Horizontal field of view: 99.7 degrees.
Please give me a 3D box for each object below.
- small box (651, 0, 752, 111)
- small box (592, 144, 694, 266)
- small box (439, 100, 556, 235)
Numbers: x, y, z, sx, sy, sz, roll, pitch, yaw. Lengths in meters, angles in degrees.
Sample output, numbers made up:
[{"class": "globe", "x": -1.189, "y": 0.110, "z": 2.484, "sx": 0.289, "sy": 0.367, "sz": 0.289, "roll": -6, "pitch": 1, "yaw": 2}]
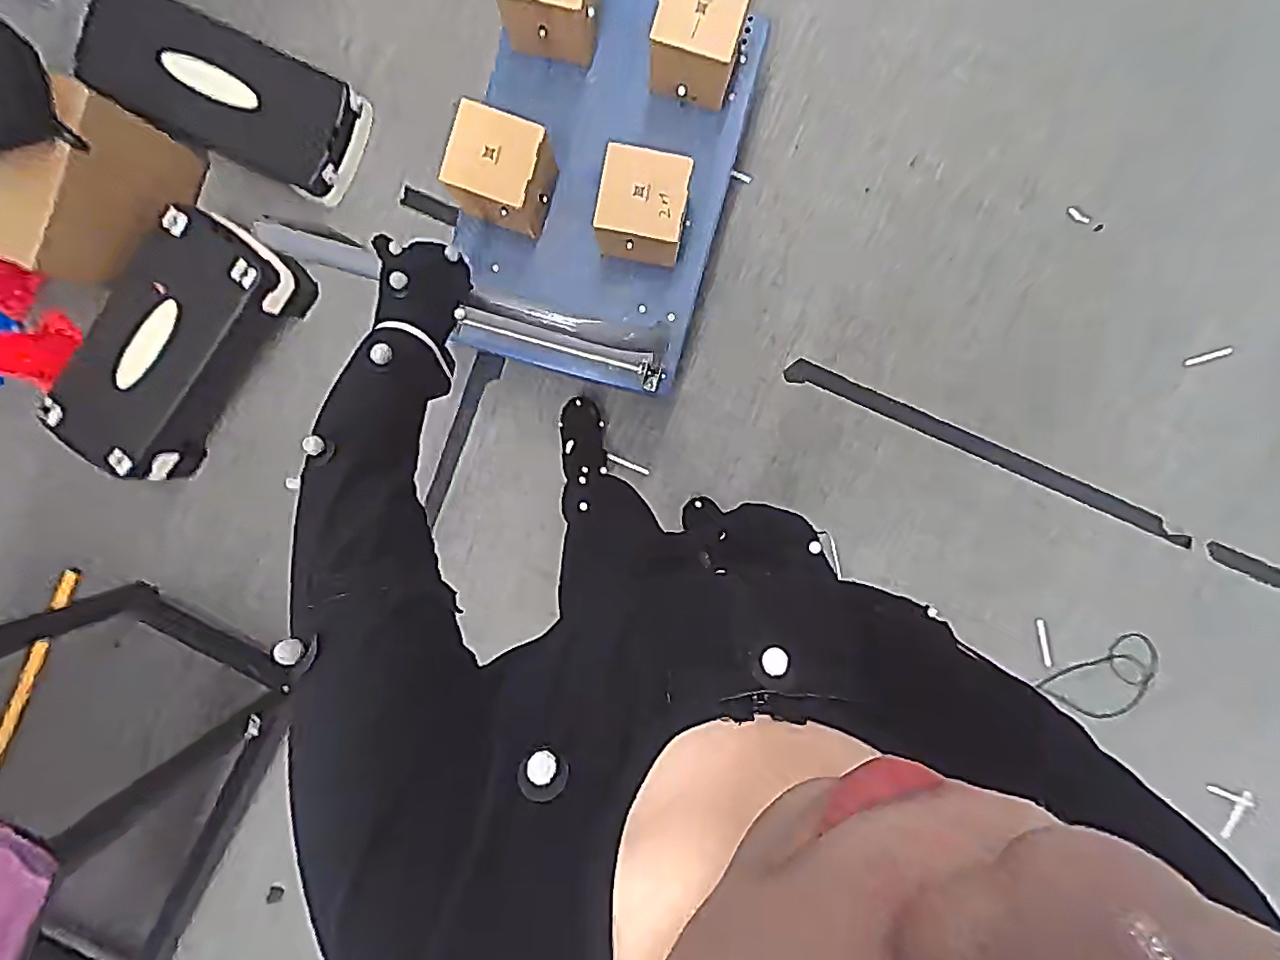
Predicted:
[{"class": "small box", "x": 0.124, "y": -0.914, "z": 1.112, "sx": 0.168, "sy": 0.176, "sz": 0.179, "roll": 18, "pitch": 97, "yaw": 0}, {"class": "small box", "x": 0.007, "y": -0.572, "z": 1.148, "sx": 0.179, "sy": 0.176, "sz": 0.168, "roll": 12, "pitch": 96, "yaw": 0}, {"class": "small box", "x": -0.292, "y": -0.649, "z": 1.148, "sx": 0.179, "sy": 0.176, "sz": 0.168, "roll": 19, "pitch": 94, "yaw": -3}]
